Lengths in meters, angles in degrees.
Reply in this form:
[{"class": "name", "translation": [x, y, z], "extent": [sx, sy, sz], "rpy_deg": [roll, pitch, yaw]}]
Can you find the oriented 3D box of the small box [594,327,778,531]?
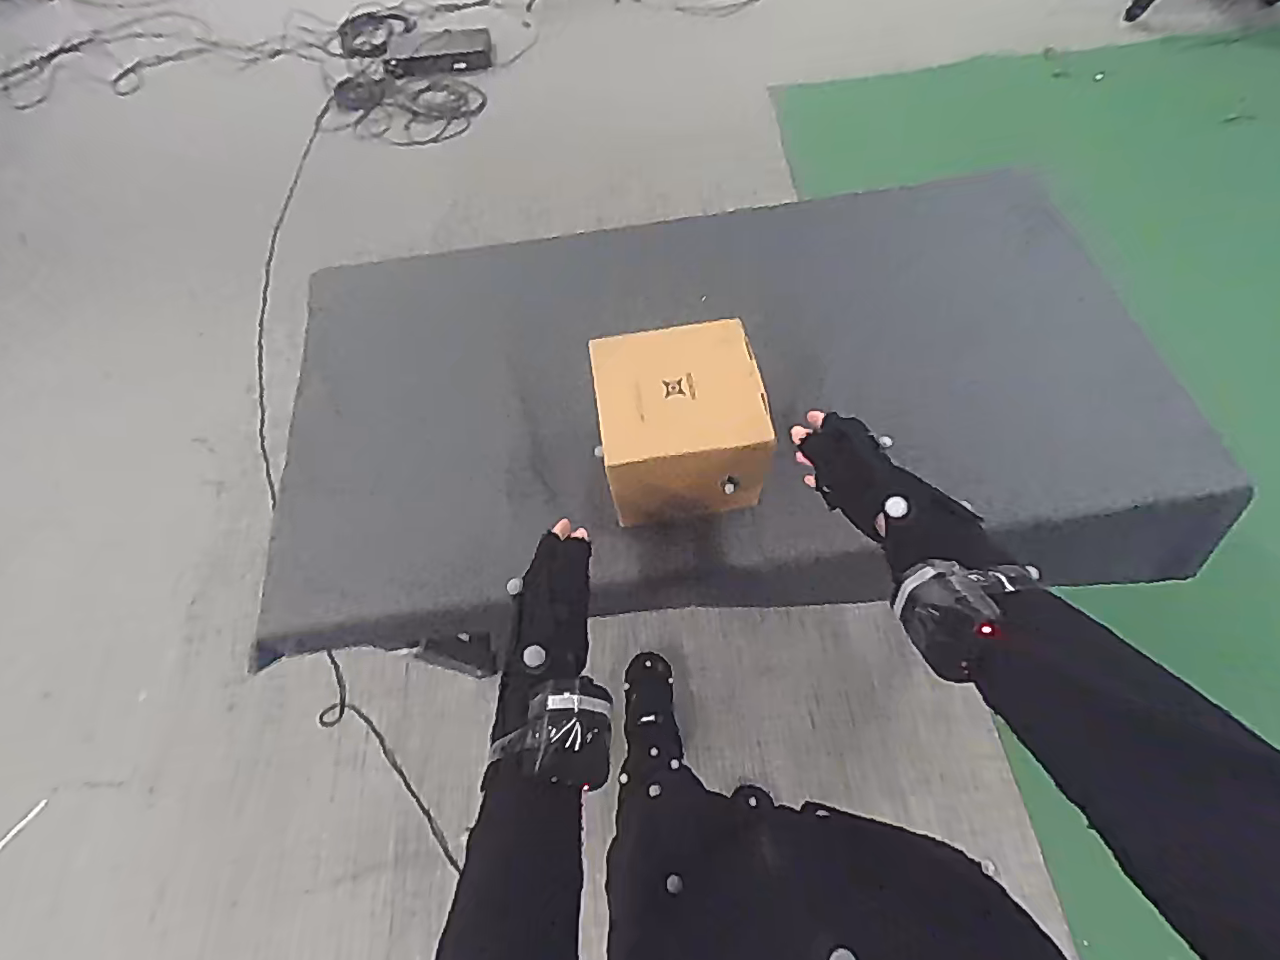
[{"class": "small box", "translation": [0.049, -0.053, 0.648], "extent": [0.179, 0.176, 0.168], "rpy_deg": [-10, 63, 1]}]
